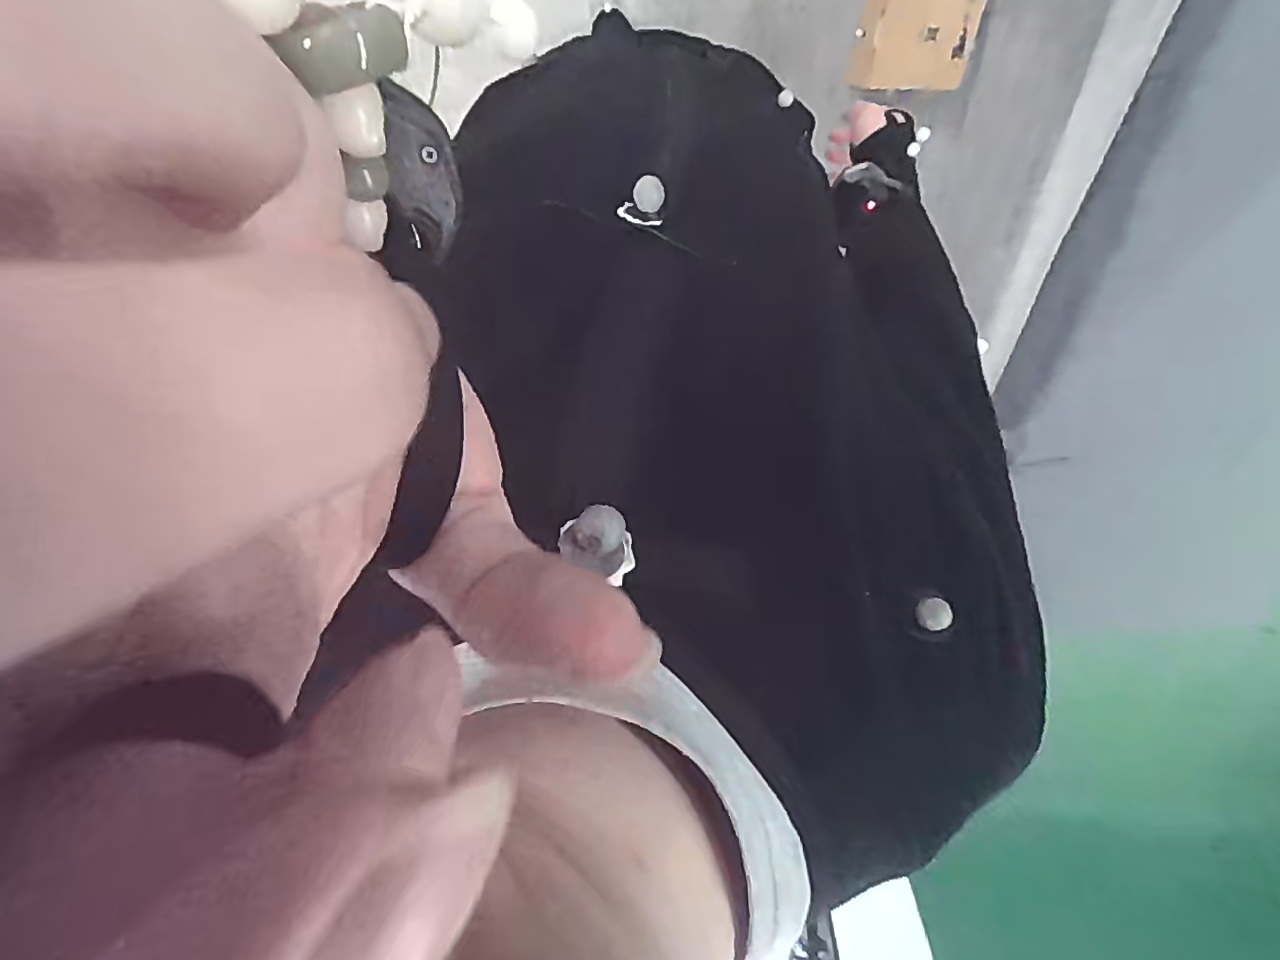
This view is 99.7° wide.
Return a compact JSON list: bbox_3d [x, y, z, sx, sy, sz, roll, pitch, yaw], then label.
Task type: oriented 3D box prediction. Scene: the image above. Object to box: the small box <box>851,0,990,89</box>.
[{"bbox_3d":[0.521,-0.847,1.025,0.179,0.176,0.168,1,129,1],"label":"small box"}]
